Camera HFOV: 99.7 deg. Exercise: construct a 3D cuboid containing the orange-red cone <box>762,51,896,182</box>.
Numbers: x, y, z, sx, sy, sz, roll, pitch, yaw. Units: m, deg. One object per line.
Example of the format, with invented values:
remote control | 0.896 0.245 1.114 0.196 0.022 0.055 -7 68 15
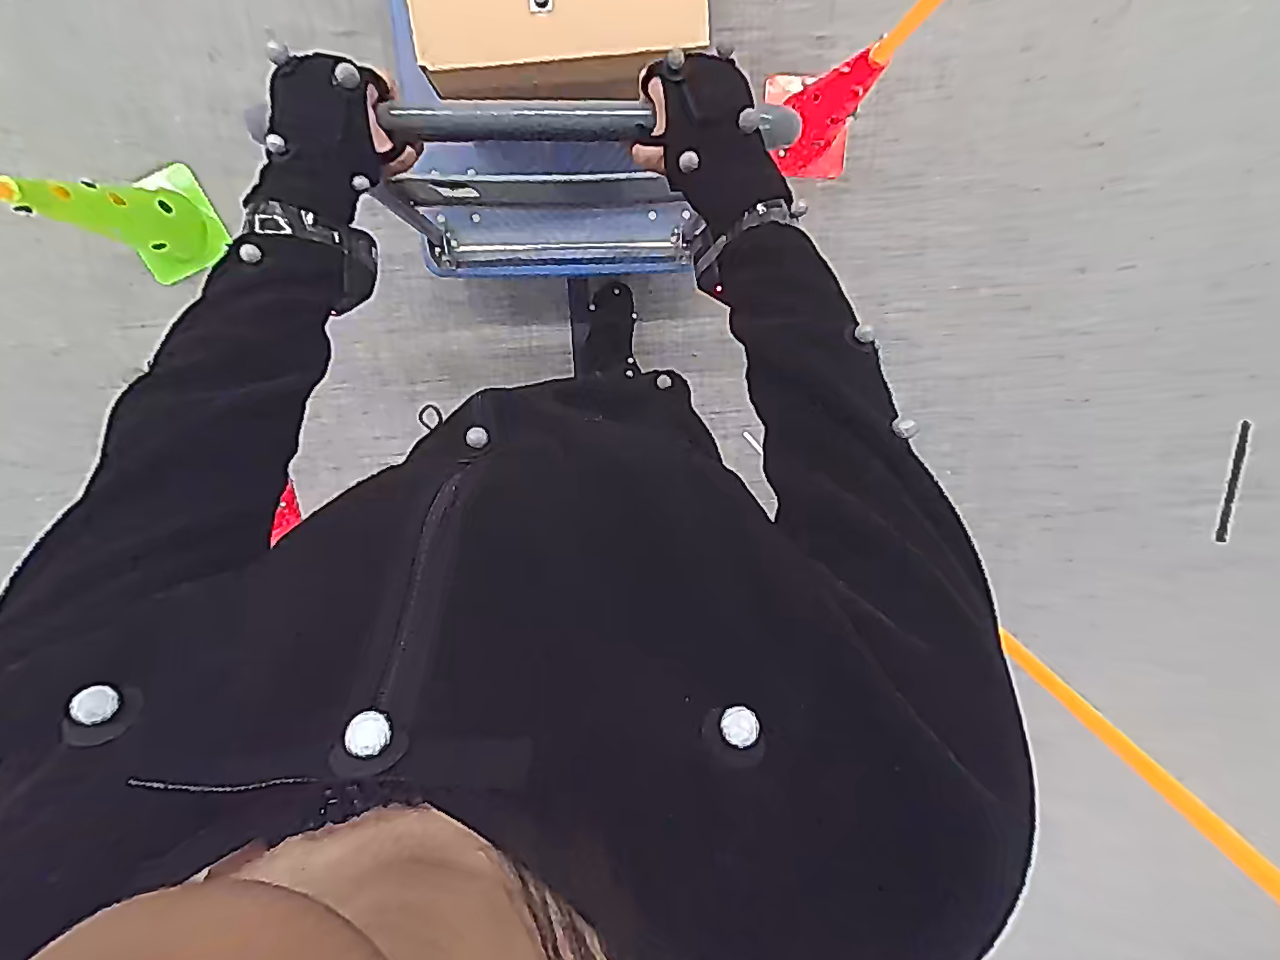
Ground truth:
orange-red cone | 0.396 -0.743 1.063 0.199 0.360 0.198 2 107 -6
